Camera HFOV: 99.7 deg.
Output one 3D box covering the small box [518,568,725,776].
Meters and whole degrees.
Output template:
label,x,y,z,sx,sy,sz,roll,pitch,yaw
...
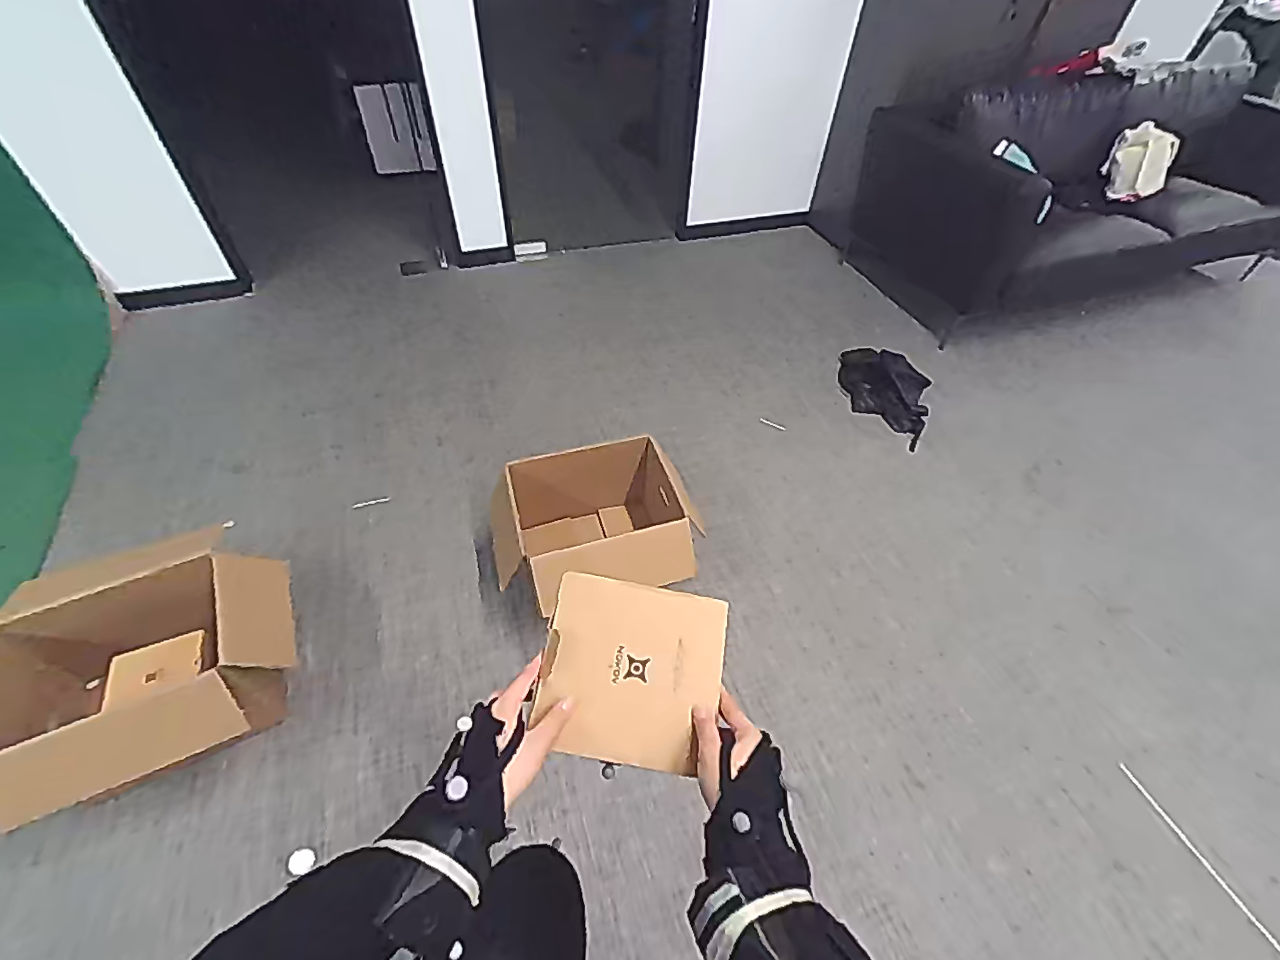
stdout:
label,x,y,z,sx,sy,sz,roll,pitch,yaw
small box,-0.021,0.210,0.584,0.179,0.176,0.168,12,64,-3
